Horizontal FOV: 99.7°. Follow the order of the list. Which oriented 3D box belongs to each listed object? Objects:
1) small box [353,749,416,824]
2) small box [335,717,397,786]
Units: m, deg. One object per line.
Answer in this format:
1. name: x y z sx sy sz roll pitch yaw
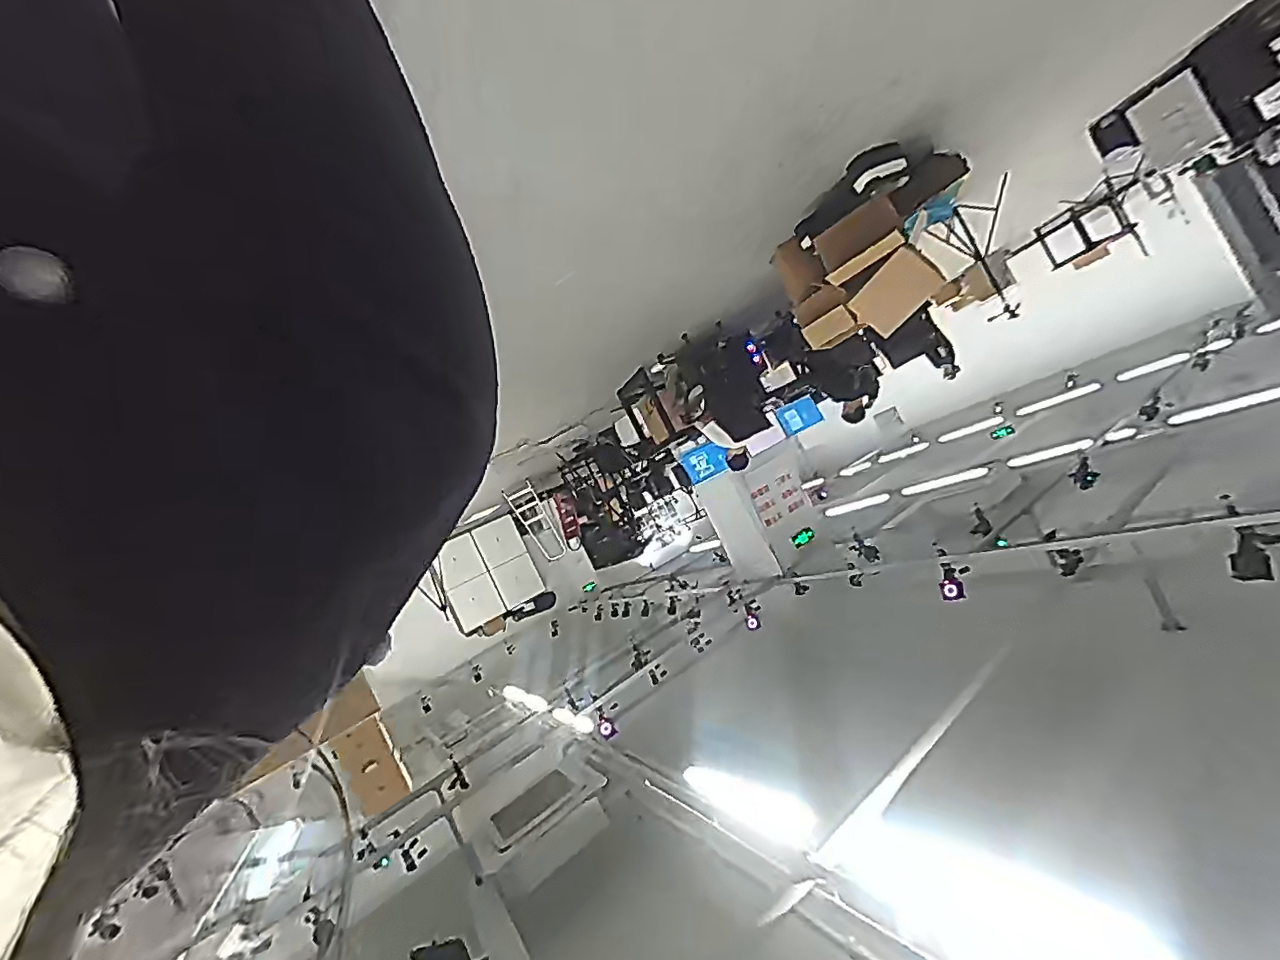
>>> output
1. small box: -0.996 1.183 2.101 0.179 0.176 0.168 -28 177 -28
2. small box: -1.069 1.054 2.115 0.168 0.176 0.179 -27 175 -29
